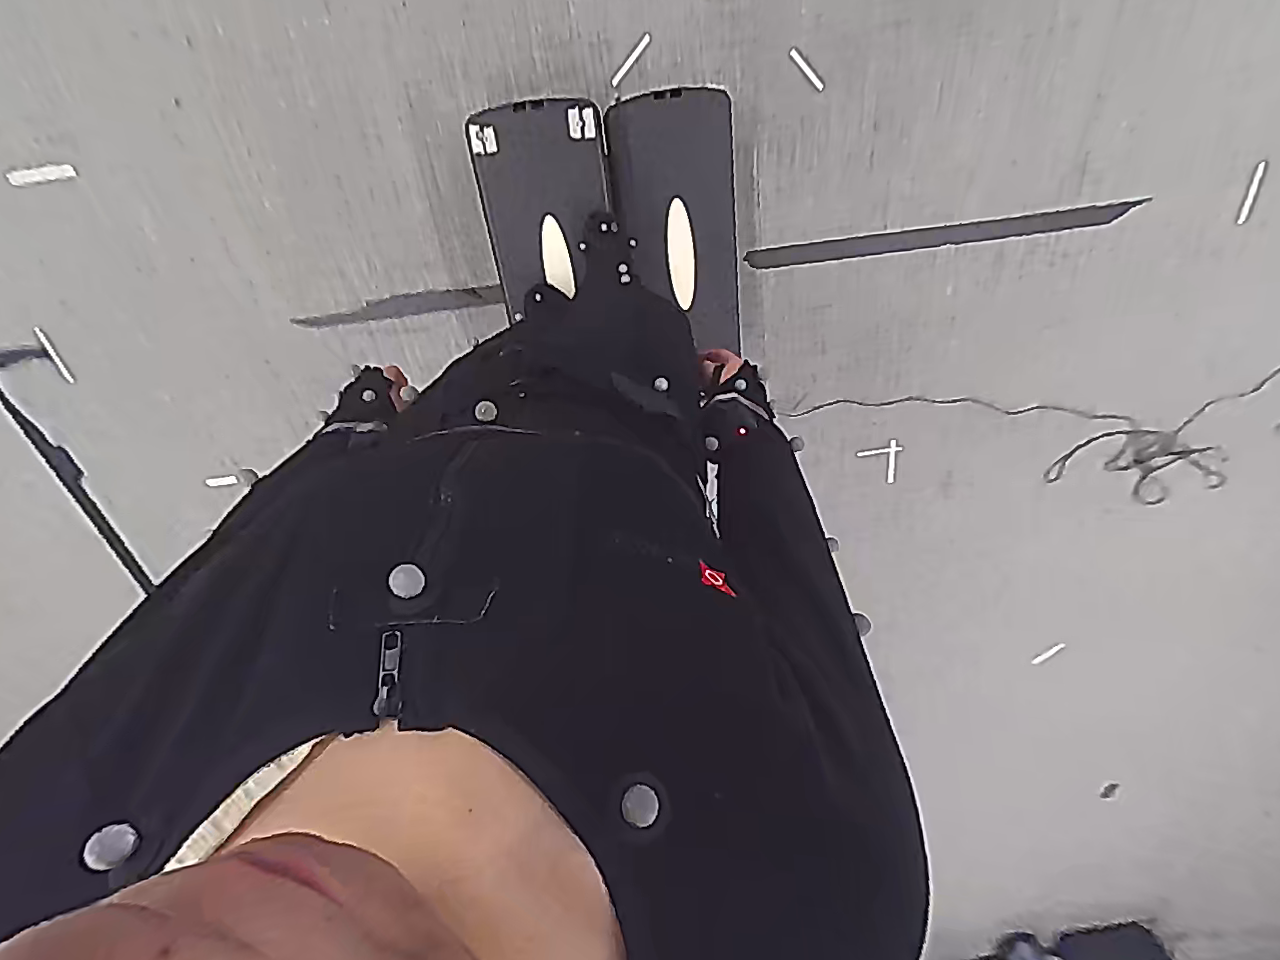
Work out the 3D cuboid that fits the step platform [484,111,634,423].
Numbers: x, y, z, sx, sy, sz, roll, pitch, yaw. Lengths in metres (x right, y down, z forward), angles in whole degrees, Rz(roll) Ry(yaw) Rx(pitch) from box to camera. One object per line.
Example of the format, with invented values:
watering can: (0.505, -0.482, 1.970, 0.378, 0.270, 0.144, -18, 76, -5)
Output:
step platform: (-0.174, -0.478, 1.301, 0.286, 0.204, 0.684, -4, 115, -2)
